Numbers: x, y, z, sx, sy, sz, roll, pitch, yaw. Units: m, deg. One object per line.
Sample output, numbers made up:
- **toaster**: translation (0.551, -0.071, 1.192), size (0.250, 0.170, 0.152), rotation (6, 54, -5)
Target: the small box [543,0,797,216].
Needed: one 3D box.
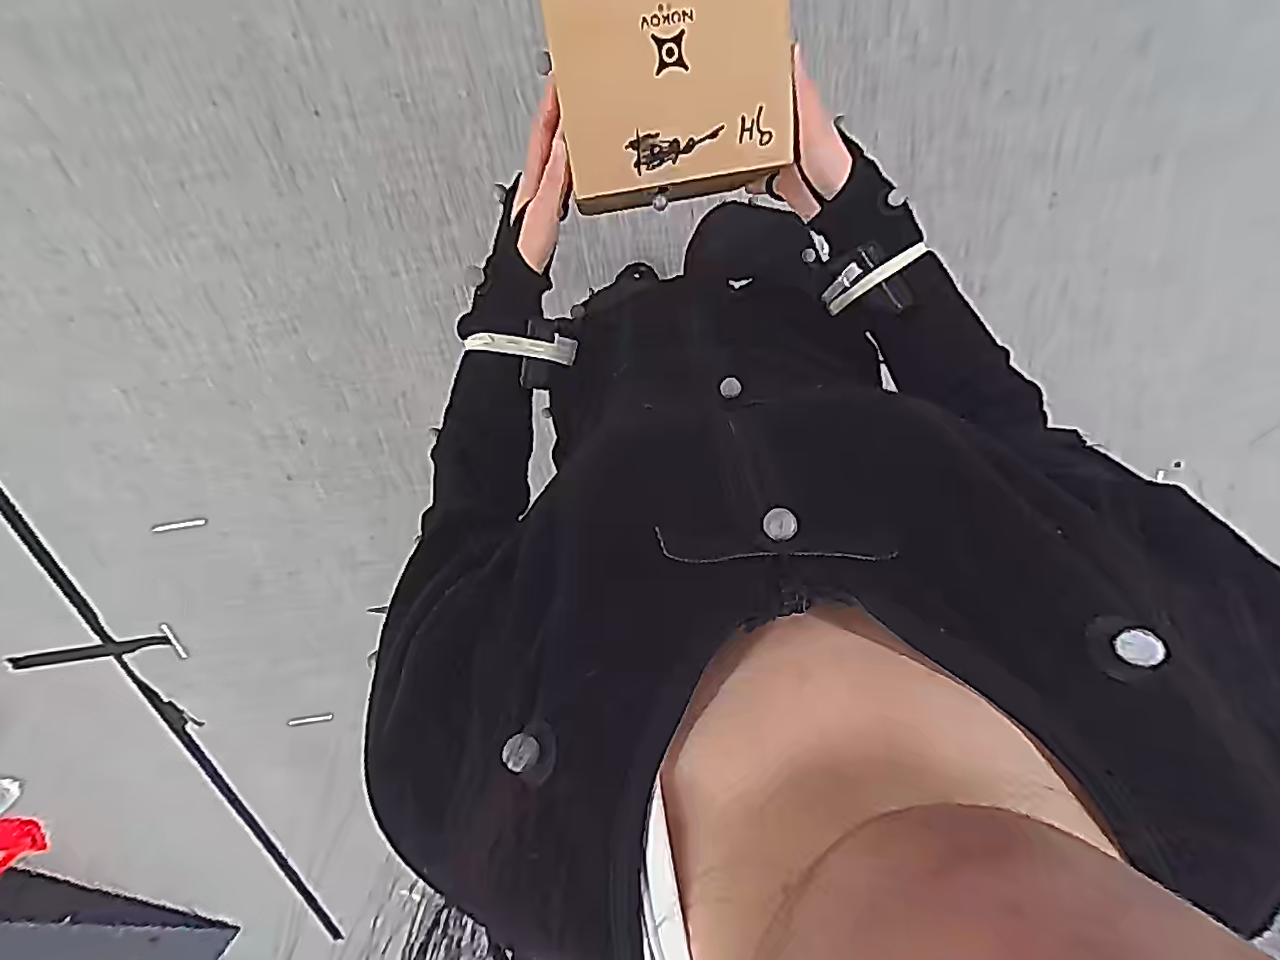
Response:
- **small box**: translation (0.015, -0.326, 0.437), size (0.168, 0.176, 0.179), rotation (-10, 113, -1)

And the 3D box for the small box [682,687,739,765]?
- **small box**: translation (0.245, 0.863, 1.905), size (0.168, 0.176, 0.179), rotation (-10, 115, 1)
